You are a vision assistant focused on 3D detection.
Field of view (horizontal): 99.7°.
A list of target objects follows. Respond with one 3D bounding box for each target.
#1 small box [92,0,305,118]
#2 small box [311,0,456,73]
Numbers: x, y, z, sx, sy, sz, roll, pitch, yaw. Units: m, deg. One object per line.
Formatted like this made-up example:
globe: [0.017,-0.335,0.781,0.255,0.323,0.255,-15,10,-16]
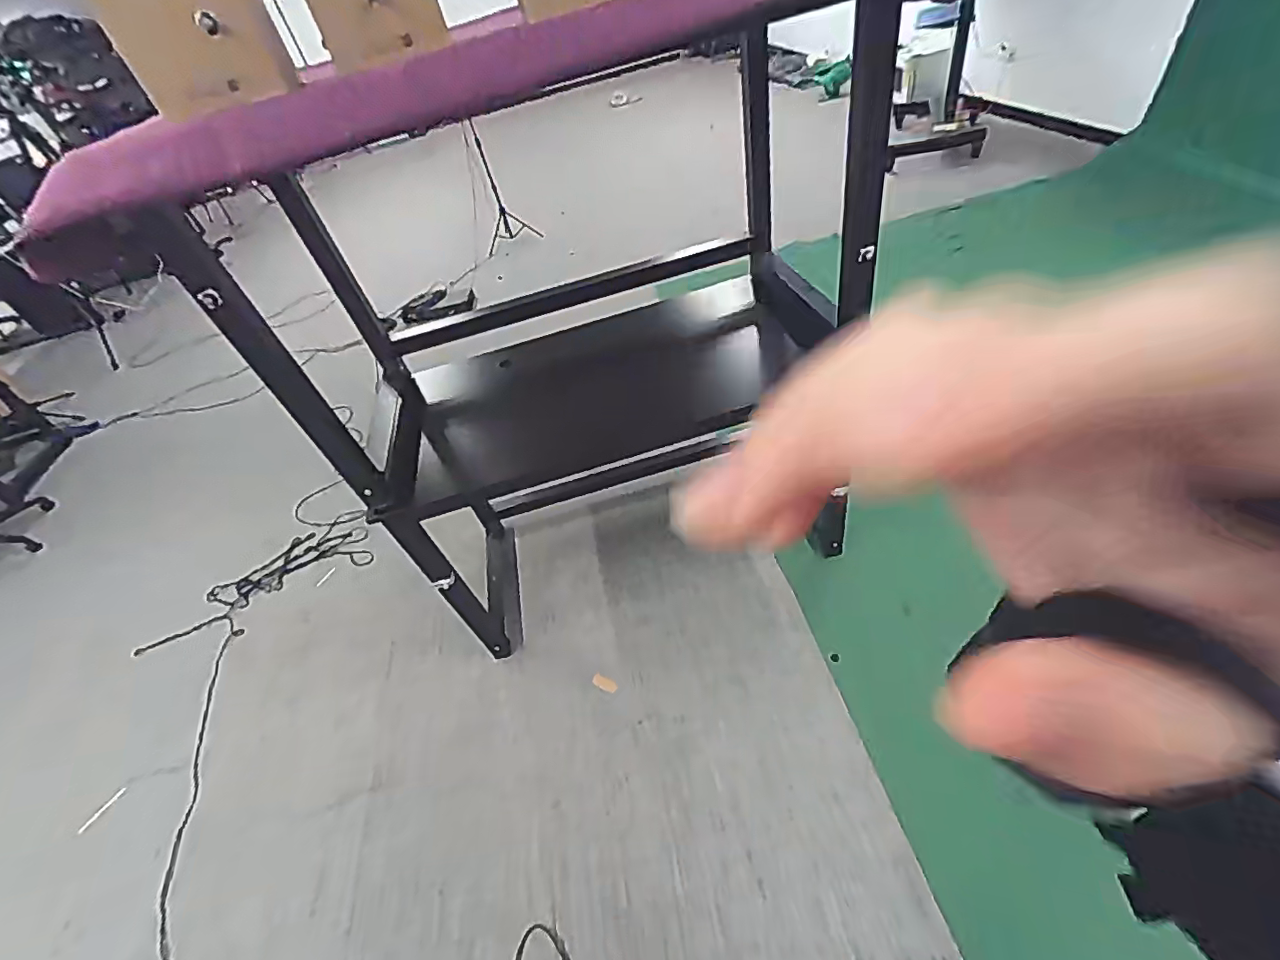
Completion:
small box: [-0.600,-0.624,0.750,0.168,0.176,0.179,-19,43,-6]
small box: [-0.372,-0.700,0.764,0.168,0.176,0.179,-19,44,-5]
